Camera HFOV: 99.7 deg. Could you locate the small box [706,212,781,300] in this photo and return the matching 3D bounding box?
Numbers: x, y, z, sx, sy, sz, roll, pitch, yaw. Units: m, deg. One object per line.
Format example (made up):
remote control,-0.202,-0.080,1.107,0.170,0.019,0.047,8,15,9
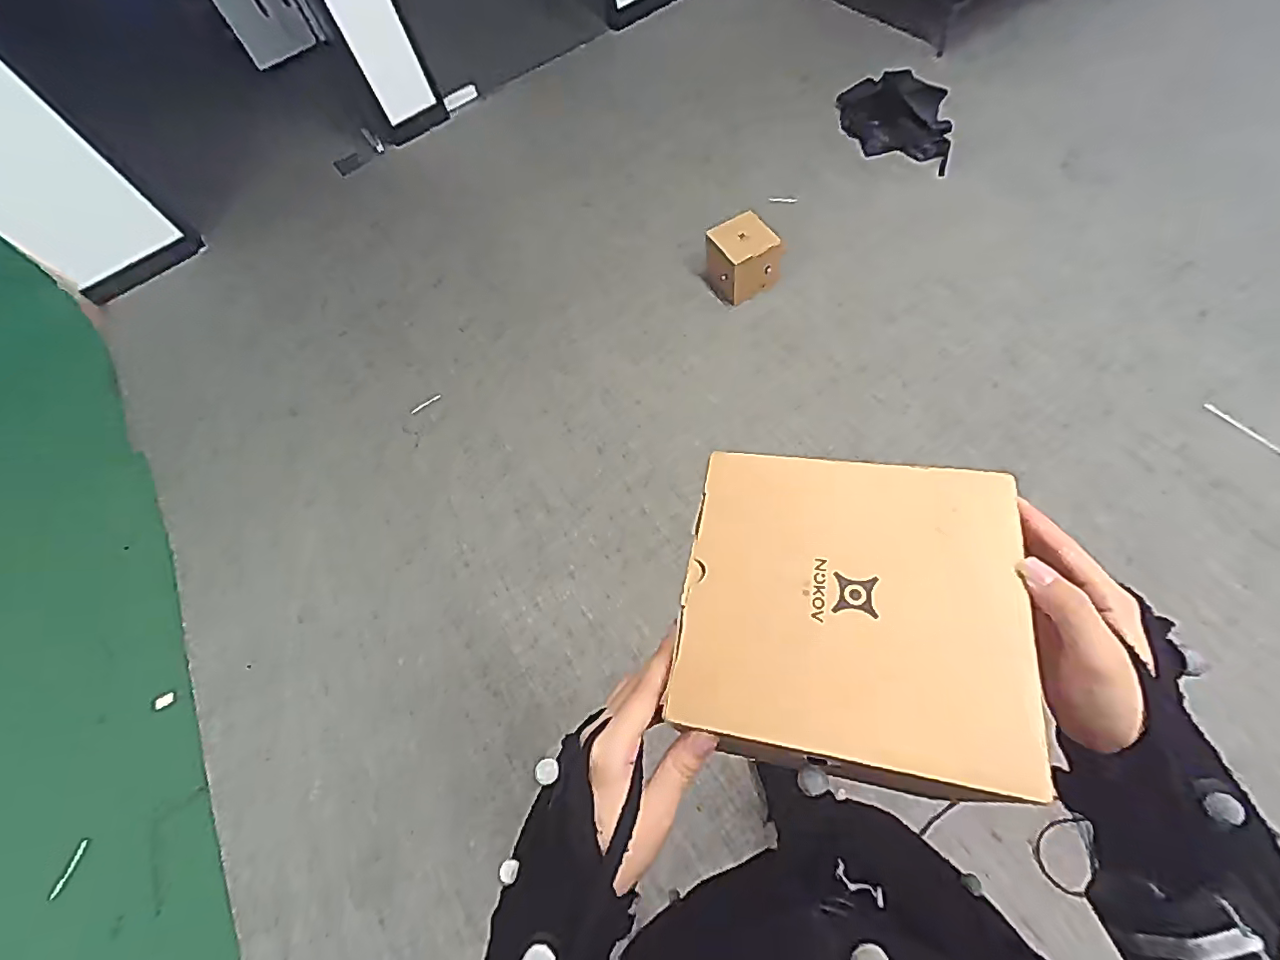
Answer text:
small box,0.322,-0.693,1.695,0.168,0.176,0.179,-27,61,-6
